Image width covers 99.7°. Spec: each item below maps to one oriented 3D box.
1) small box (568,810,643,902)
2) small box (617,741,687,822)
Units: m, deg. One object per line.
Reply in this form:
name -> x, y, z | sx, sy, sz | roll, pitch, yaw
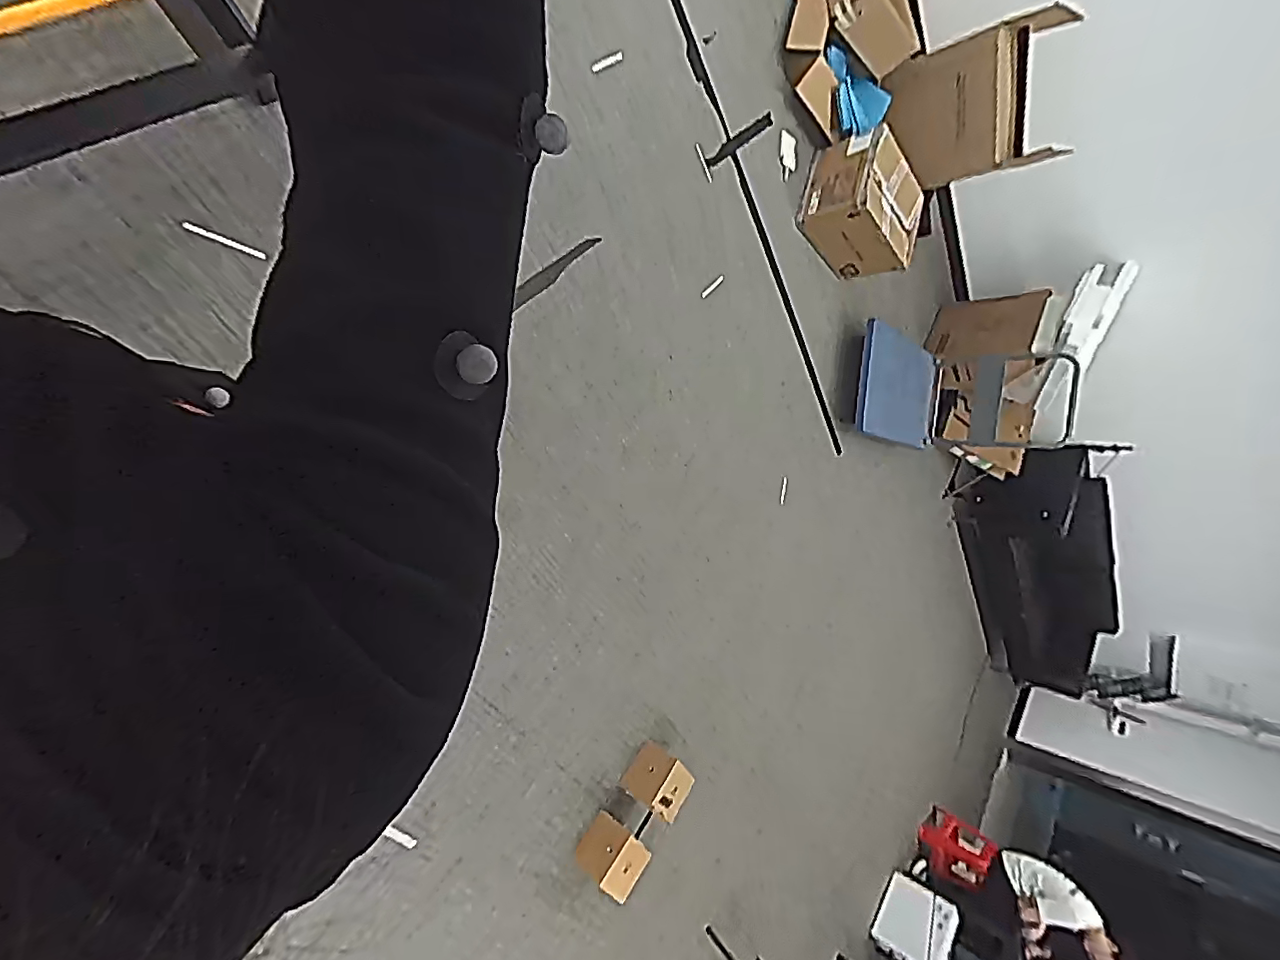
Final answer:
small box -> -0.129, 1.308, 1.888 | 0.179, 0.176, 0.168 | -48, 124, -29
small box -> 0.037, 1.120, 2.020 | 0.179, 0.176, 0.168 | -49, 125, -29
